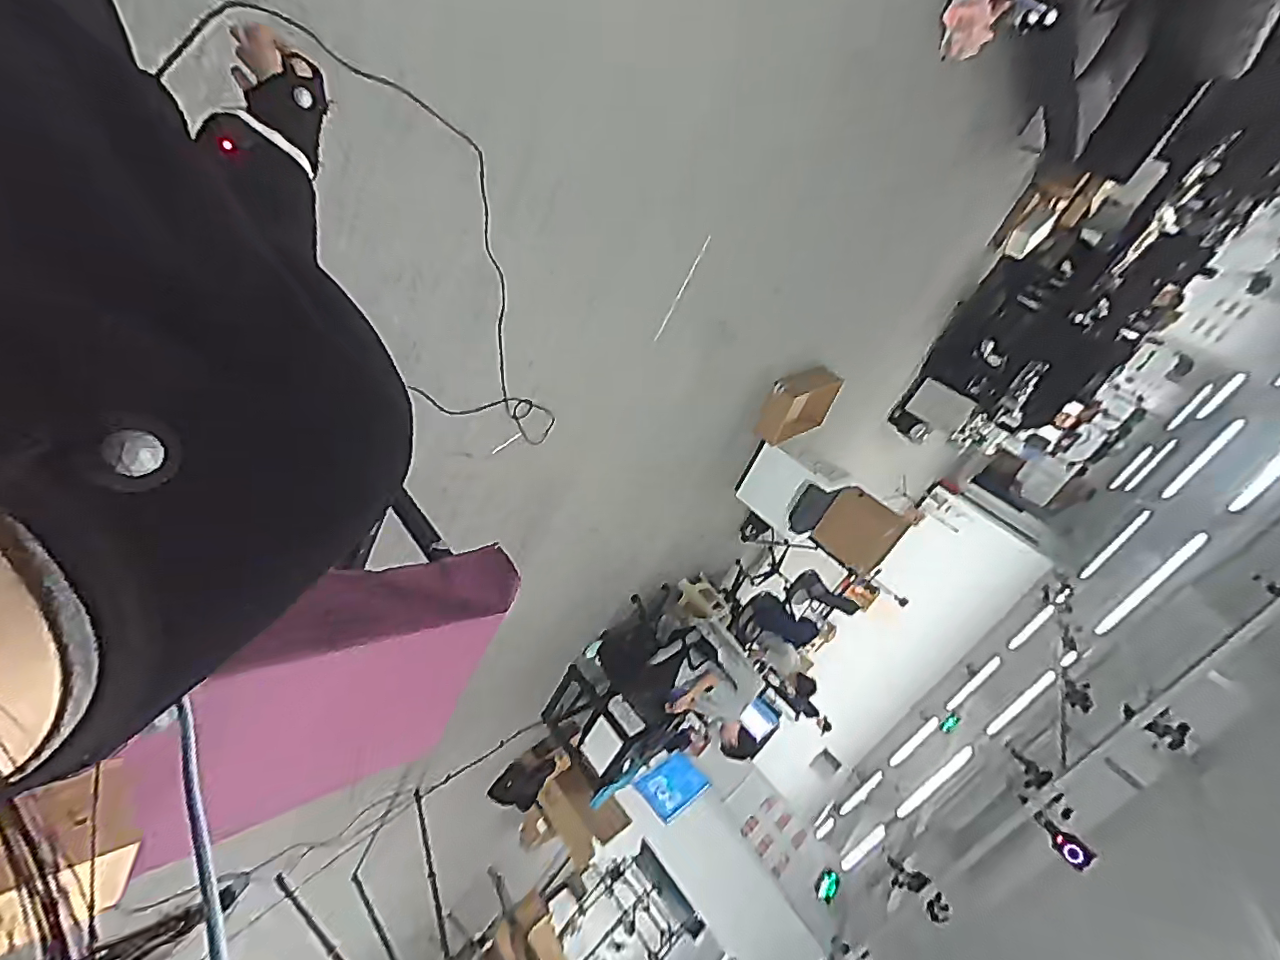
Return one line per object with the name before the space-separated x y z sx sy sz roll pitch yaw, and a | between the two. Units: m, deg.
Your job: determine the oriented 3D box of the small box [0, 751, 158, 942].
small box | -0.923 0.574 0.877 0.168 0.176 0.179 2 126 -54
